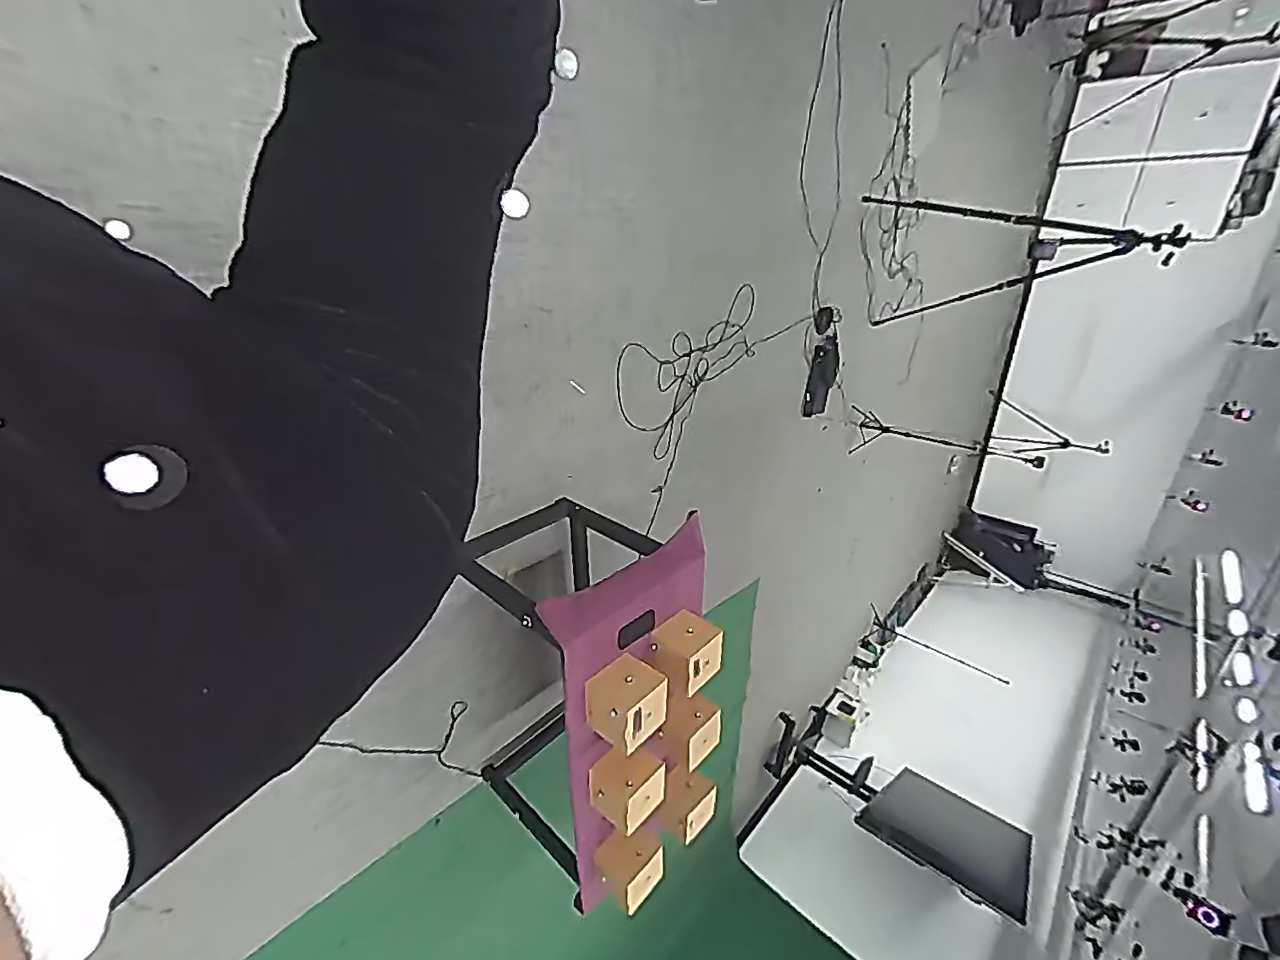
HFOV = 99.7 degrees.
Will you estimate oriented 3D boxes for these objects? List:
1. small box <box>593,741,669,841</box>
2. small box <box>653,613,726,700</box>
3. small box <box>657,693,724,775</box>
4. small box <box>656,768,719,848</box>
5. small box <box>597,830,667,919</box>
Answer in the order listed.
[{"bbox_3d":[-0.030,0.972,1.710,0.179,0.176,0.168,-23,122,-43],"label":"small box"},{"bbox_3d":[0.157,0.565,1.750,0.179,0.176,0.168,-25,124,-42],"label":"small box"},{"bbox_3d":[0.179,0.889,1.919,0.179,0.176,0.168,-24,122,-41],"label":"small box"},{"bbox_3d":[0.183,1.245,2.075,0.179,0.176,0.168,-23,121,-43],"label":"small box"},{"bbox_3d":[-0.026,1.337,1.866,0.179,0.176,0.168,-25,122,-41],"label":"small box"}]
